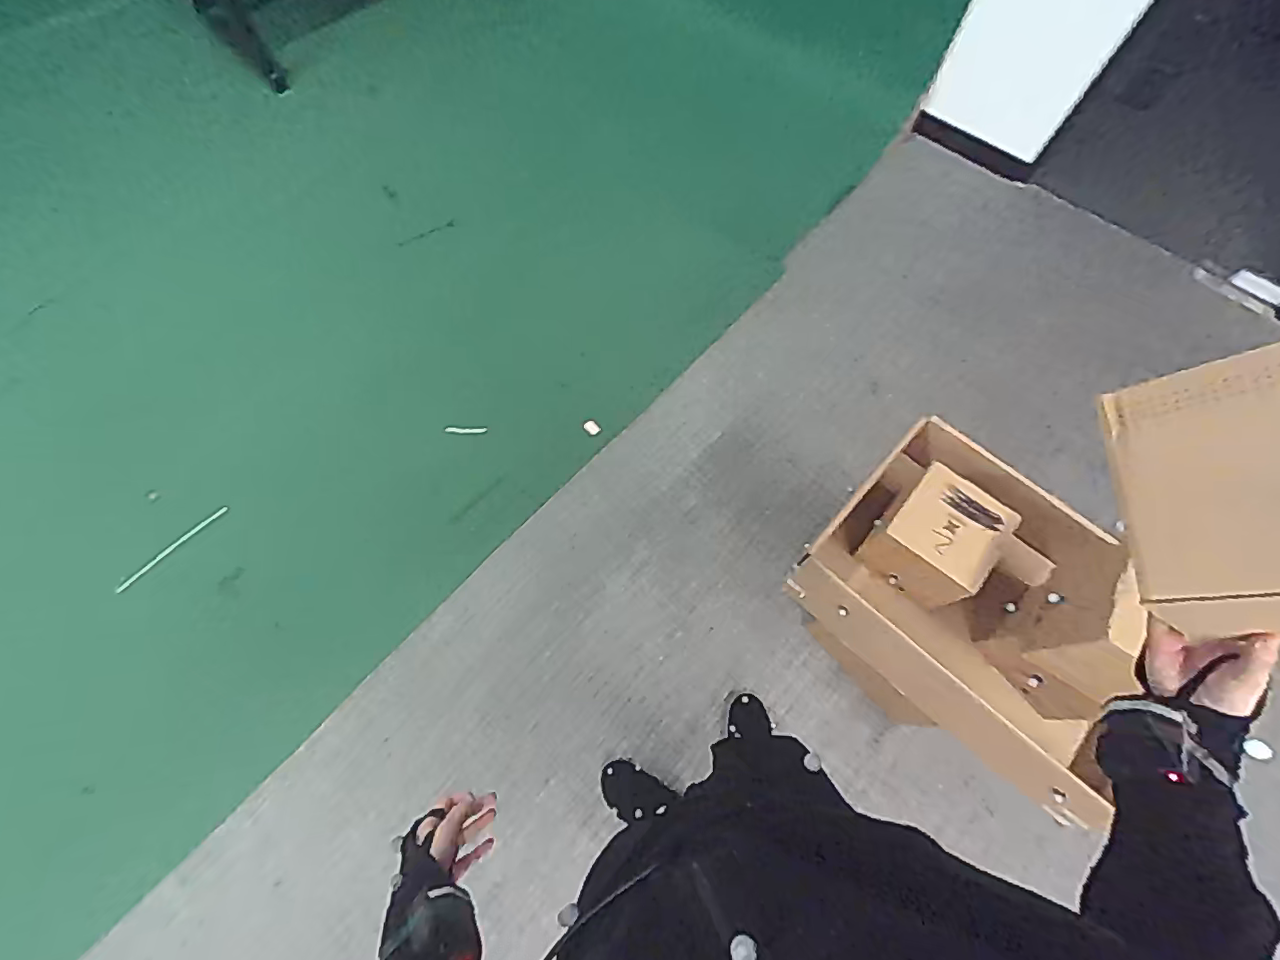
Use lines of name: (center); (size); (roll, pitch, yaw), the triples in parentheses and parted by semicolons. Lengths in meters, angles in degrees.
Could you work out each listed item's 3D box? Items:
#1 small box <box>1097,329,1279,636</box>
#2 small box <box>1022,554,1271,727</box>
small box: (0.452, 0.005, 0.373); (0.168, 0.179, 0.176); (23, 62, -32)
small box: (0.693, 0.217, 0.755); (0.179, 0.176, 0.168); (33, 69, 13)
